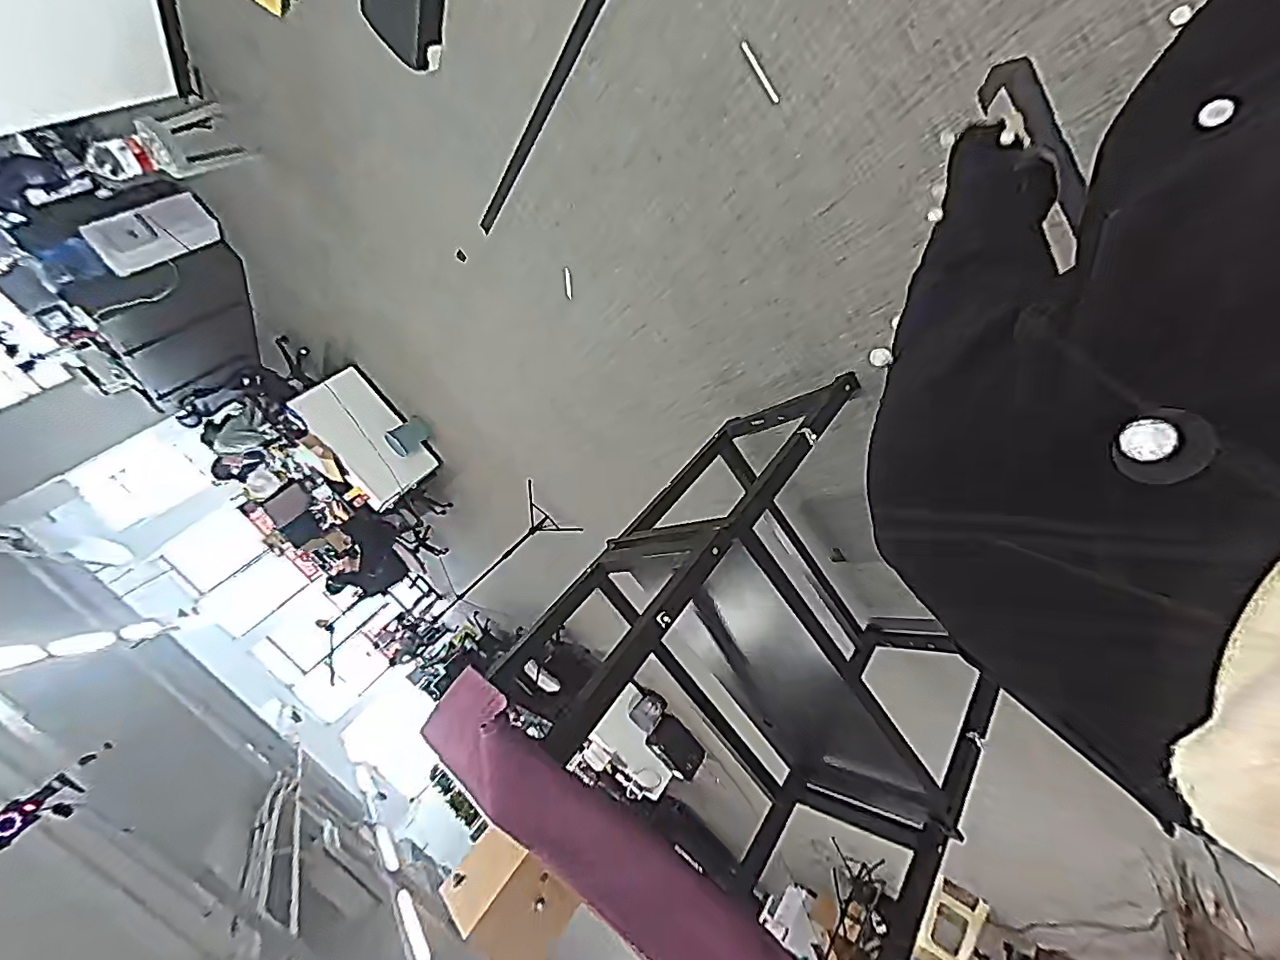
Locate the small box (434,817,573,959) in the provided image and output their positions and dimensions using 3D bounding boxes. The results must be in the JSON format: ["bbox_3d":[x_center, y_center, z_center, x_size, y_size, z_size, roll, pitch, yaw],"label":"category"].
[{"bbox_3d":[-0.259,0.794,1.043,0.168,0.176,0.179,53,149,-16],"label":"small box"}]
